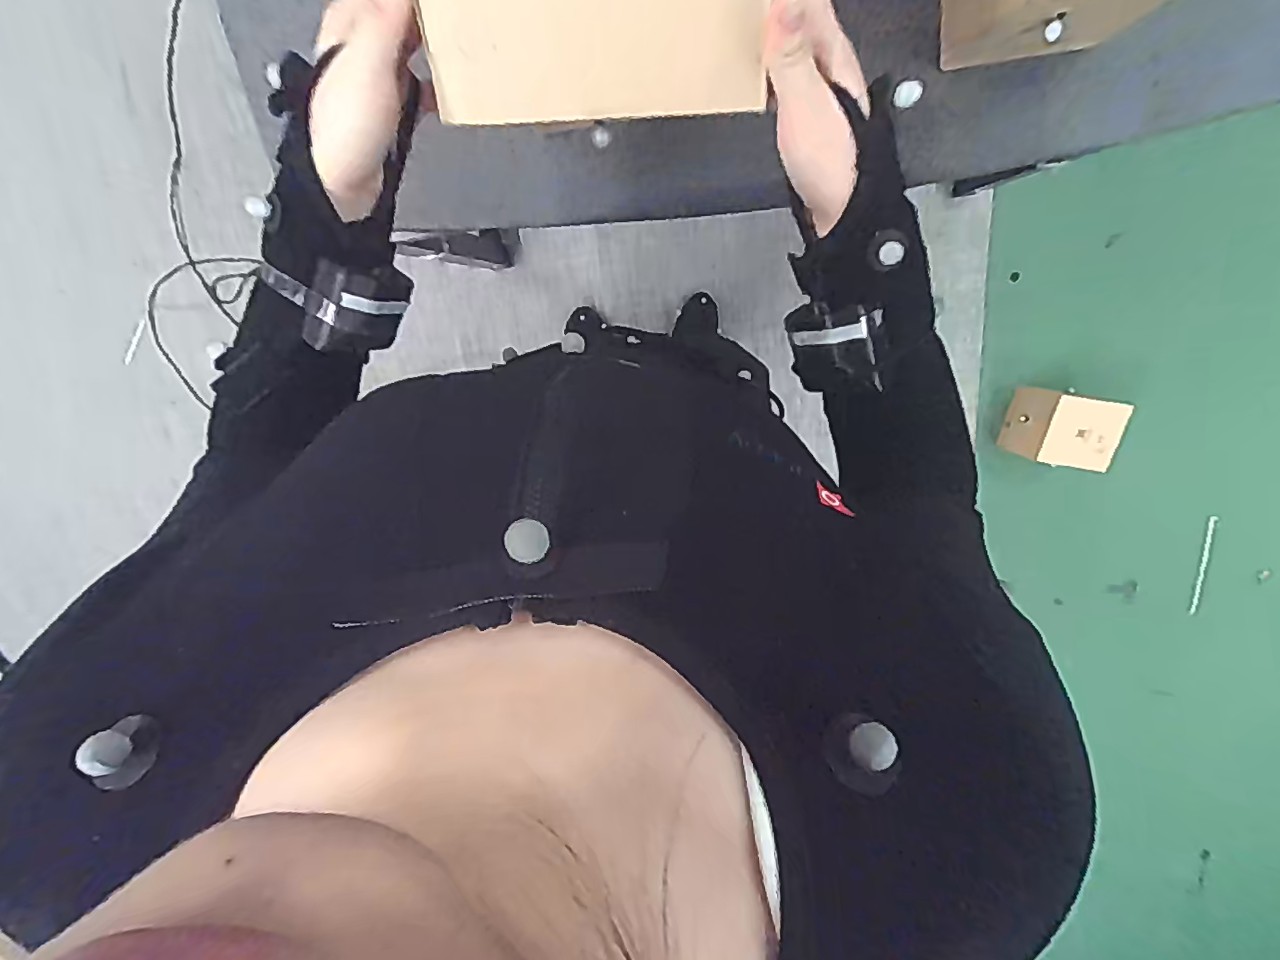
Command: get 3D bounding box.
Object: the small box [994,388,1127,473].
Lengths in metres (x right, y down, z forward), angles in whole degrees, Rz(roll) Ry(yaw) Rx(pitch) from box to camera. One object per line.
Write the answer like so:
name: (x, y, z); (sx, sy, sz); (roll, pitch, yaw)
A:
small box: (1.040, -0.131, 1.357); (0.179, 0.176, 0.168); (9, 109, -1)
